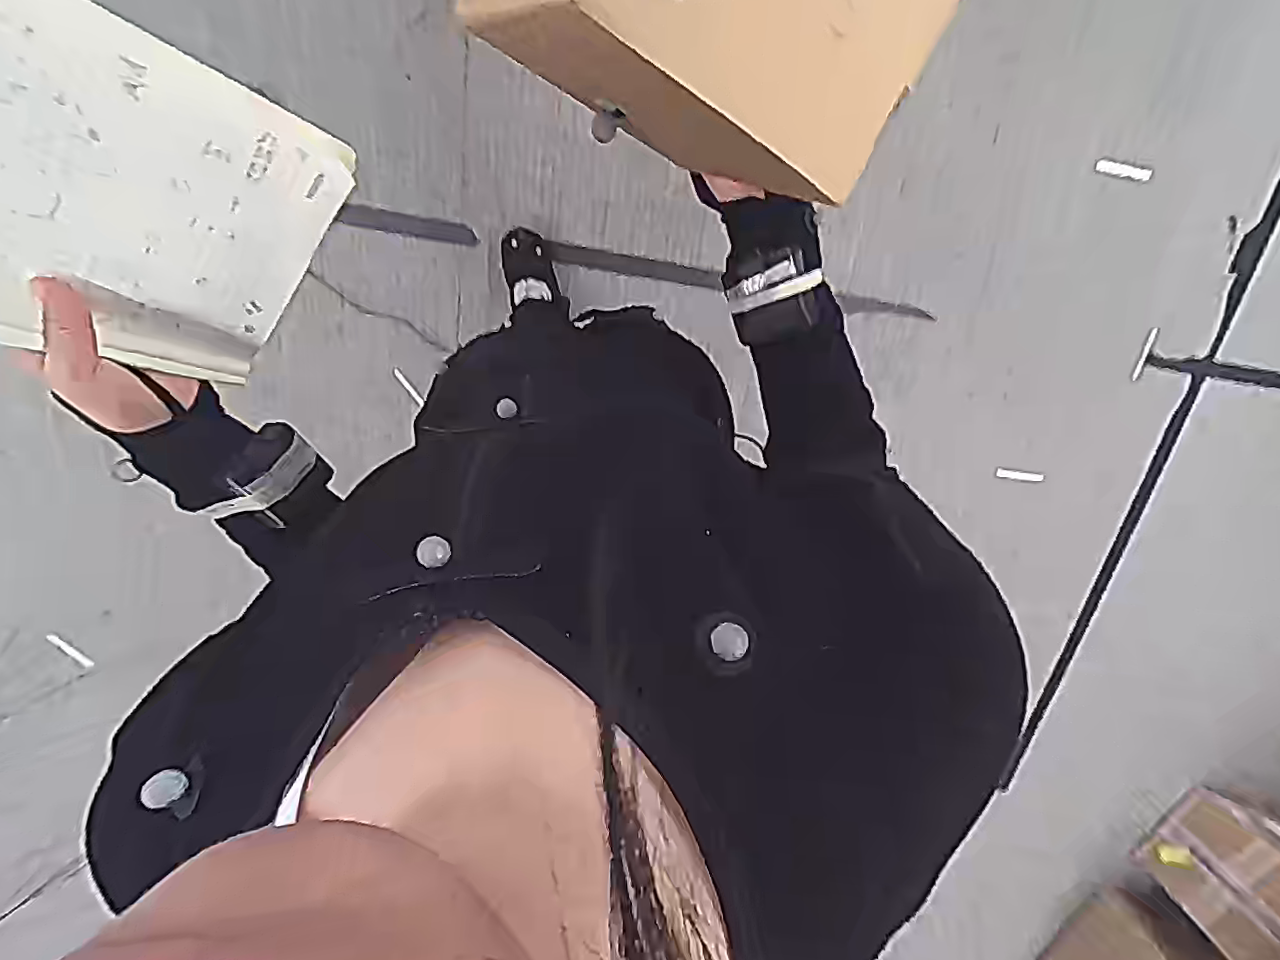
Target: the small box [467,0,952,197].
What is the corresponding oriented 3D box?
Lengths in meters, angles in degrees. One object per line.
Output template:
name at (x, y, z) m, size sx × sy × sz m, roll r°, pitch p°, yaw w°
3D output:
small box at (0.039, -0.271, 0.261) m, size 0.179 × 0.176 × 0.168 m, roll 8°, pitch 118°, yaw -39°
